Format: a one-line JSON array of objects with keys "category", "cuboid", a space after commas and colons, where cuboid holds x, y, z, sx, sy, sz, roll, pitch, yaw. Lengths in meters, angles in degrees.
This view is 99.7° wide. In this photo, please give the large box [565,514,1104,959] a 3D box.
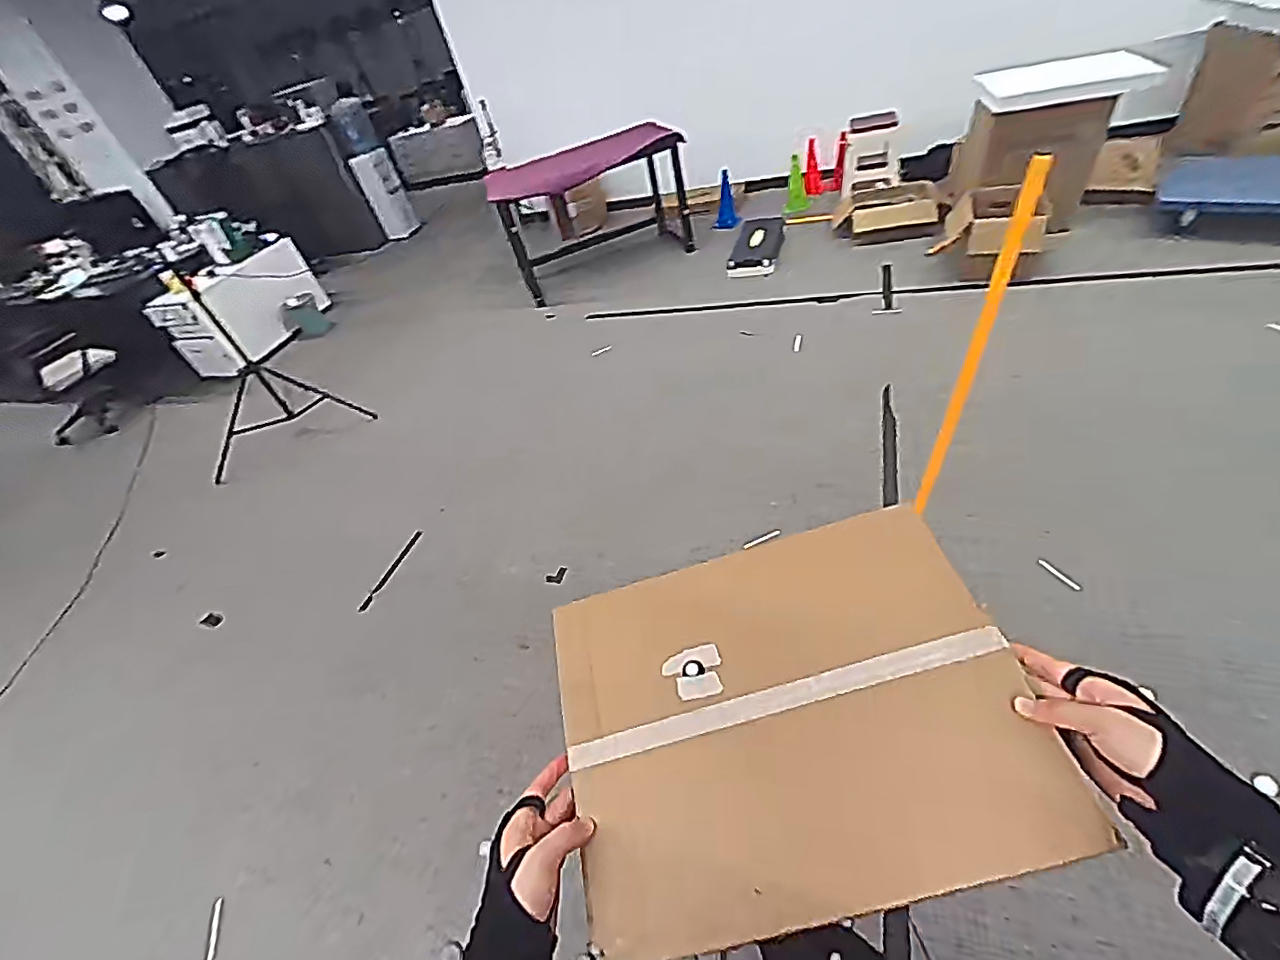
[{"category": "large box", "cuboid": [0.170, 0.296, 0.623, 0.408, 0.320, 0.320, -18, 51, 5]}]
